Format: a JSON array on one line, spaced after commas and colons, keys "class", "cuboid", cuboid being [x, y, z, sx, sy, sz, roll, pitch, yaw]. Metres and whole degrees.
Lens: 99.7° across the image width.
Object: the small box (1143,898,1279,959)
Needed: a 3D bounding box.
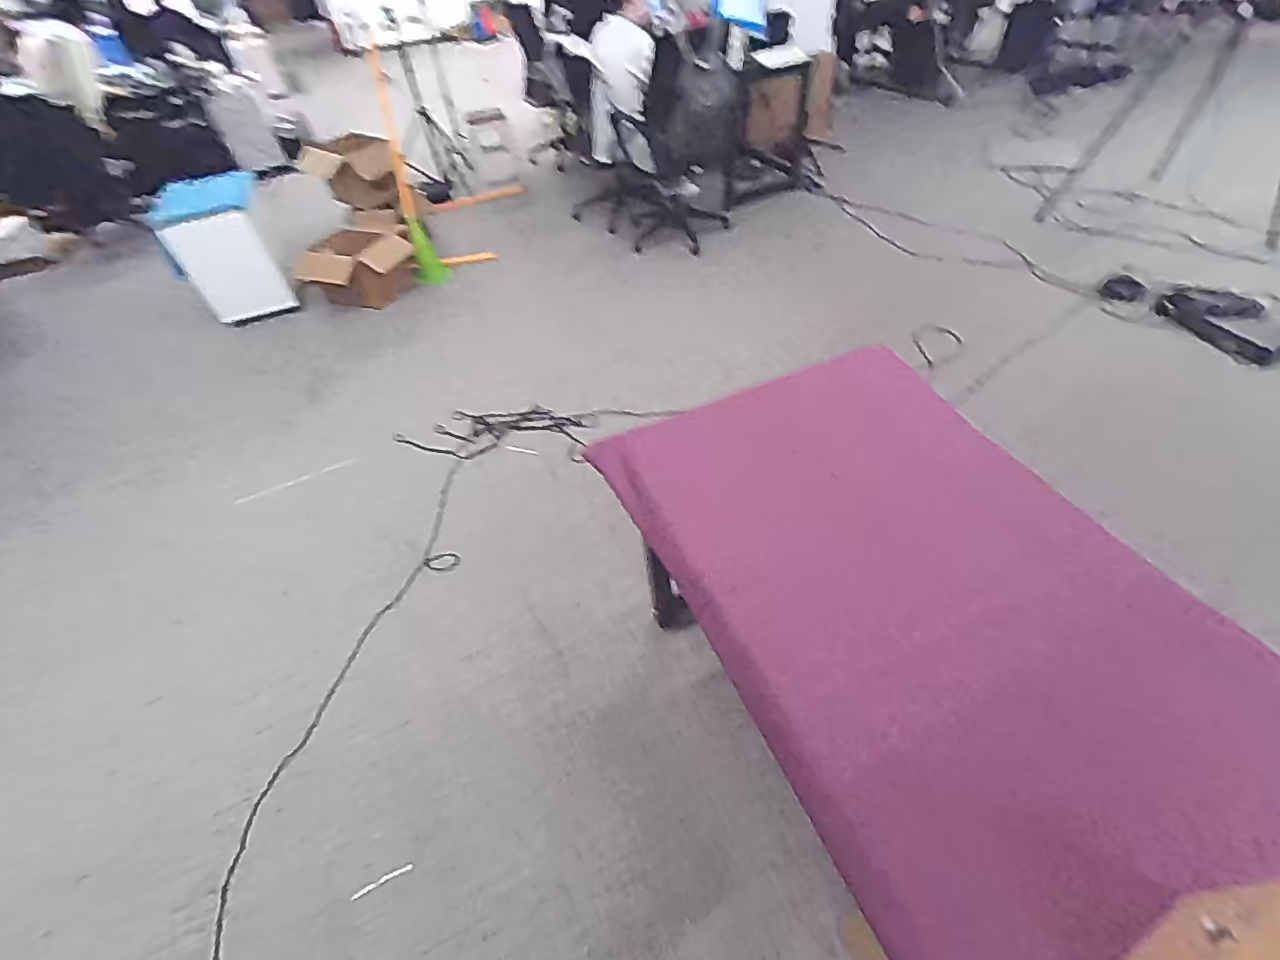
[{"class": "small box", "cuboid": [0.512, 0.452, 0.410, 0.179, 0.176, 0.168, -23, 47, -15]}]
